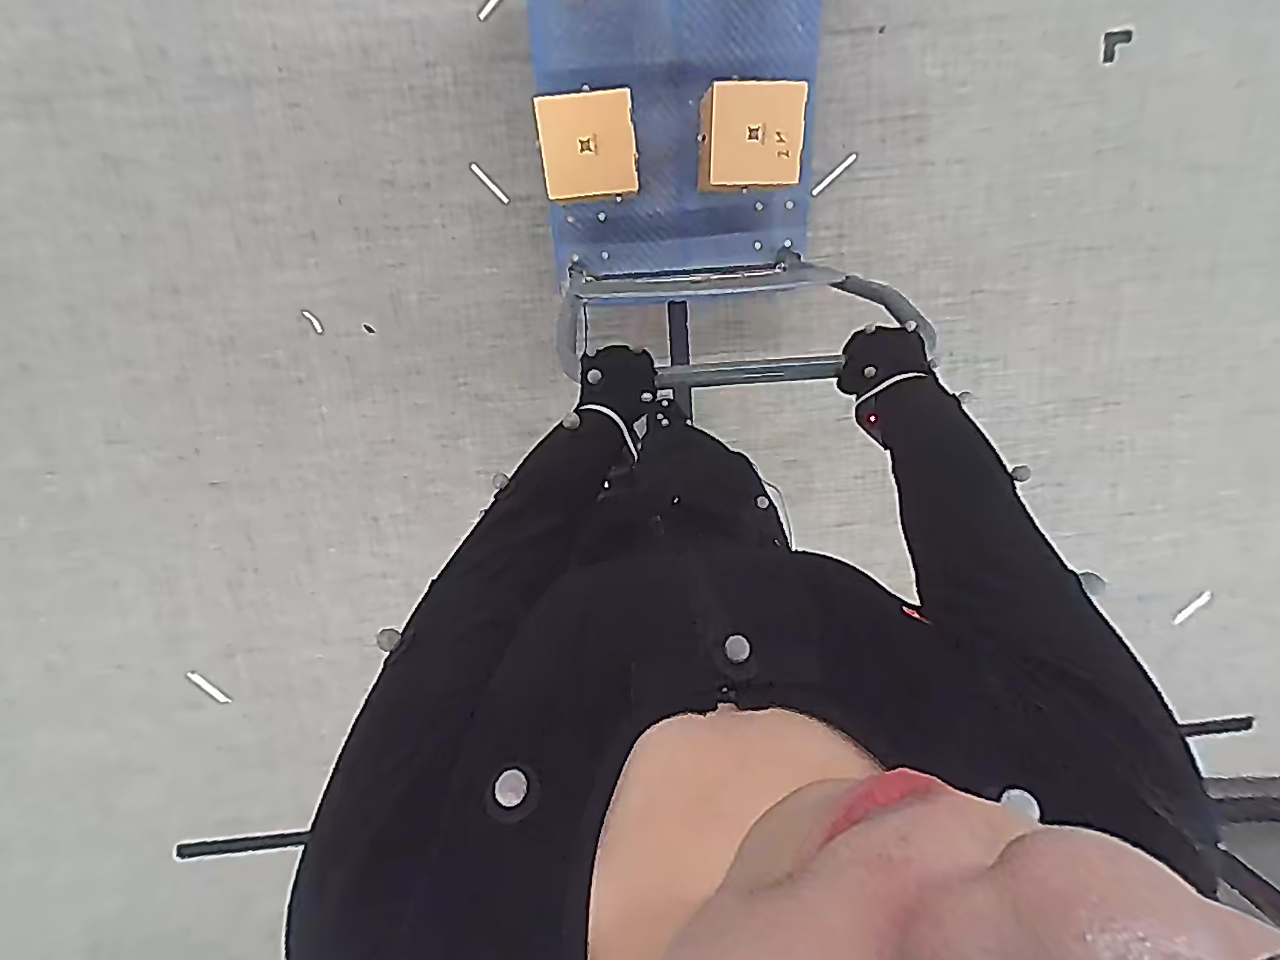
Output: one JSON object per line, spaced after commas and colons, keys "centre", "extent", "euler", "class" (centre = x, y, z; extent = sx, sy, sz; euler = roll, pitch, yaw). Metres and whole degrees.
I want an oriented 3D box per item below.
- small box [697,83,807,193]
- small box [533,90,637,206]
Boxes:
{"centre": [0.211, -0.671, 1.078], "extent": [0.179, 0.176, 0.168], "euler": [-2, 115, -3], "class": "small box"}
{"centre": [-0.104, -0.645, 1.070], "extent": [0.179, 0.176, 0.168], "euler": [-8, 114, -2], "class": "small box"}
